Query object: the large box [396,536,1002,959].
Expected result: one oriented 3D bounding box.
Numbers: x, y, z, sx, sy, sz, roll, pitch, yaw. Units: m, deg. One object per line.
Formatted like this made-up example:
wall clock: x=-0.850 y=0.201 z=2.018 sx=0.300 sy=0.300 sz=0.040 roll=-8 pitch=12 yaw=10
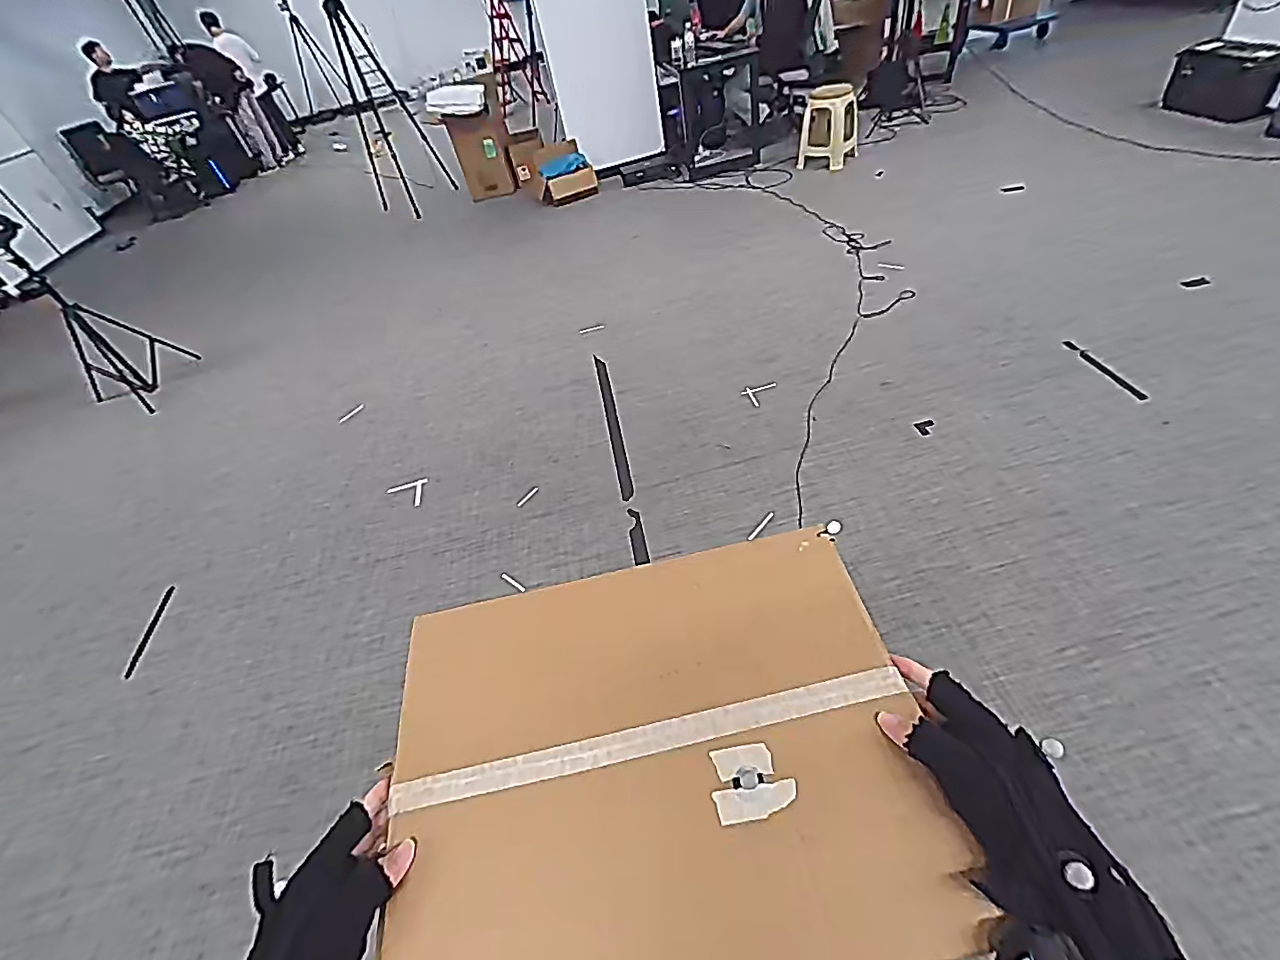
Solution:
large box: x=0.031 y=0.307 z=0.543 sx=0.408 sy=0.320 sz=0.320 roll=-13 pitch=49 yaw=0
